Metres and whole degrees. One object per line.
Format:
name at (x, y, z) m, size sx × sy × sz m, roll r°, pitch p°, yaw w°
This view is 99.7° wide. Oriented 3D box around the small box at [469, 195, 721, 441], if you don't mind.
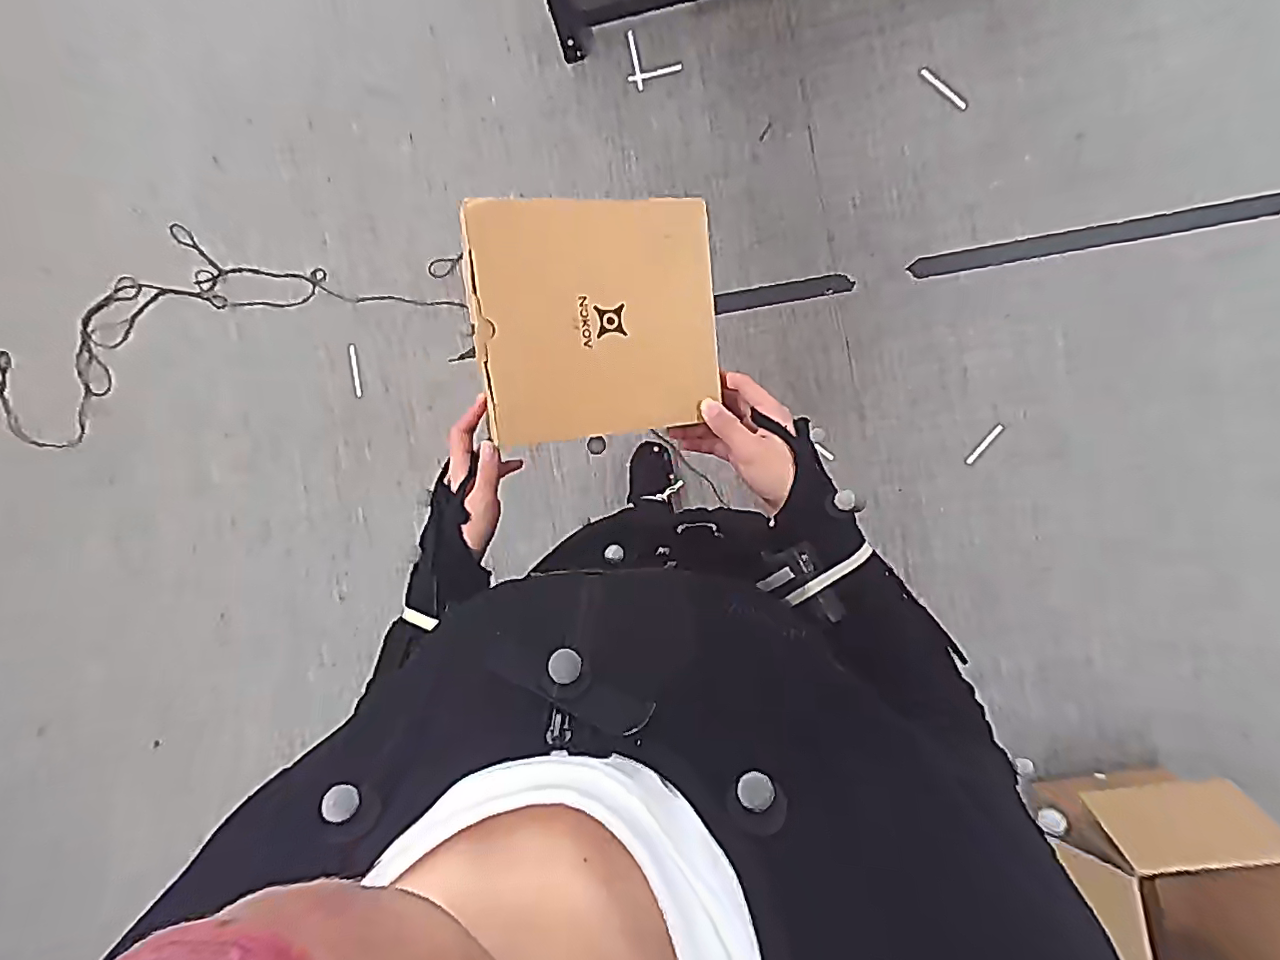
small box at (-0.048, -0.129, 0.466) m, size 0.179 × 0.176 × 0.168 m, roll -8°, pitch 100°, yaw -16°
